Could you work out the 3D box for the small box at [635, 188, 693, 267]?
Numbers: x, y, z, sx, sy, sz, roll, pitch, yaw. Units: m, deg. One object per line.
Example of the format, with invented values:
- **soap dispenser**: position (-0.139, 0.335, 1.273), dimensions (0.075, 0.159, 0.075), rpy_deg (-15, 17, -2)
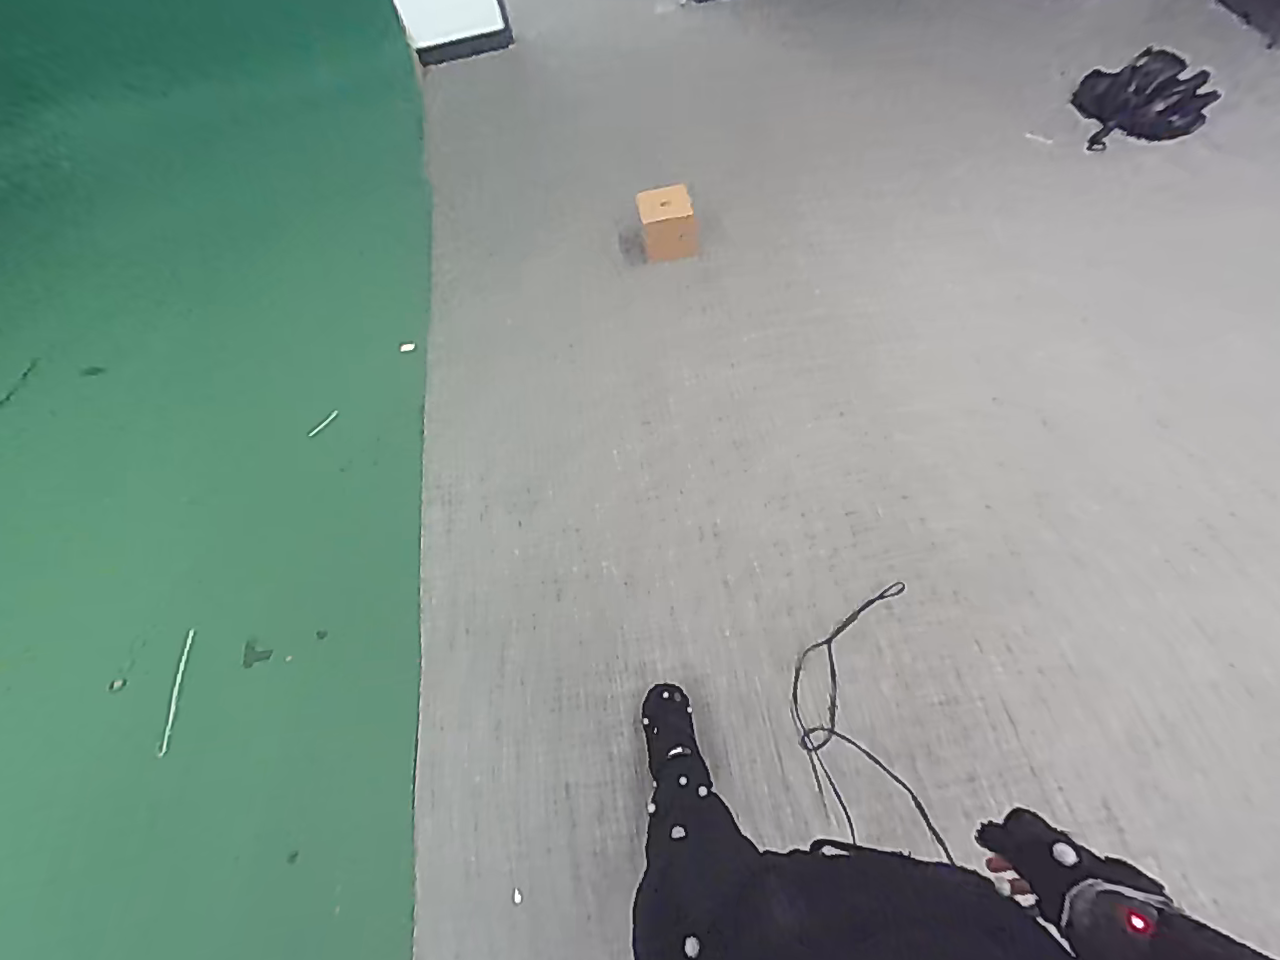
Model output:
- **small box**: position (0.089, -0.878, 1.891), dimensions (0.179, 0.176, 0.168), rpy_deg (-11, 62, 3)
